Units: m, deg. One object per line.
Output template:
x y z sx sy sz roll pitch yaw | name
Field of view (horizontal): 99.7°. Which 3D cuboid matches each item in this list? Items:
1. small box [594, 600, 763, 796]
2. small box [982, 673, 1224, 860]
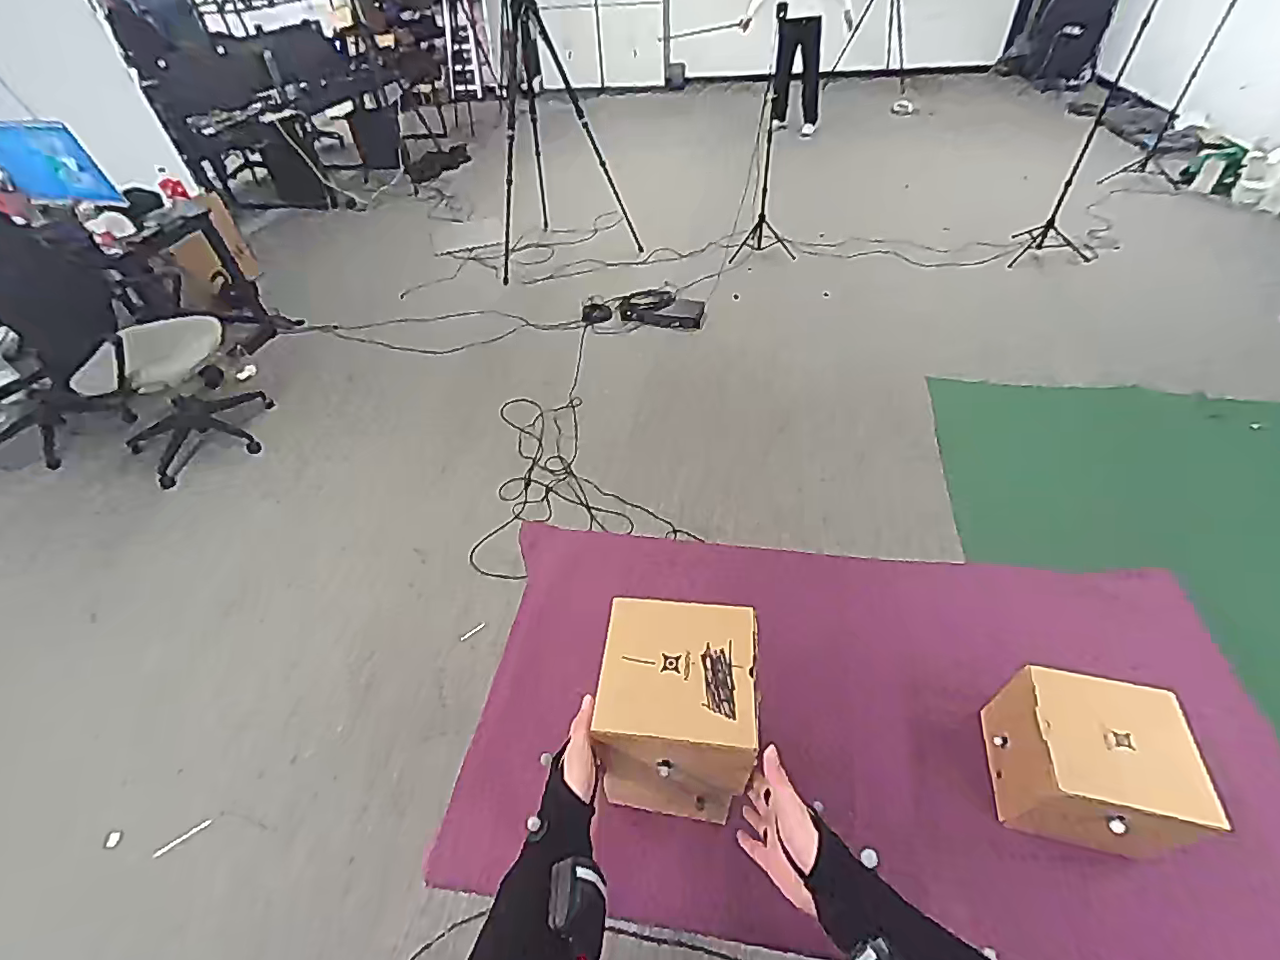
0.050 0.270 0.664 0.179 0.176 0.168 4 45 7 | small box
0.607 0.395 0.741 0.179 0.176 0.168 8 46 13 | small box
